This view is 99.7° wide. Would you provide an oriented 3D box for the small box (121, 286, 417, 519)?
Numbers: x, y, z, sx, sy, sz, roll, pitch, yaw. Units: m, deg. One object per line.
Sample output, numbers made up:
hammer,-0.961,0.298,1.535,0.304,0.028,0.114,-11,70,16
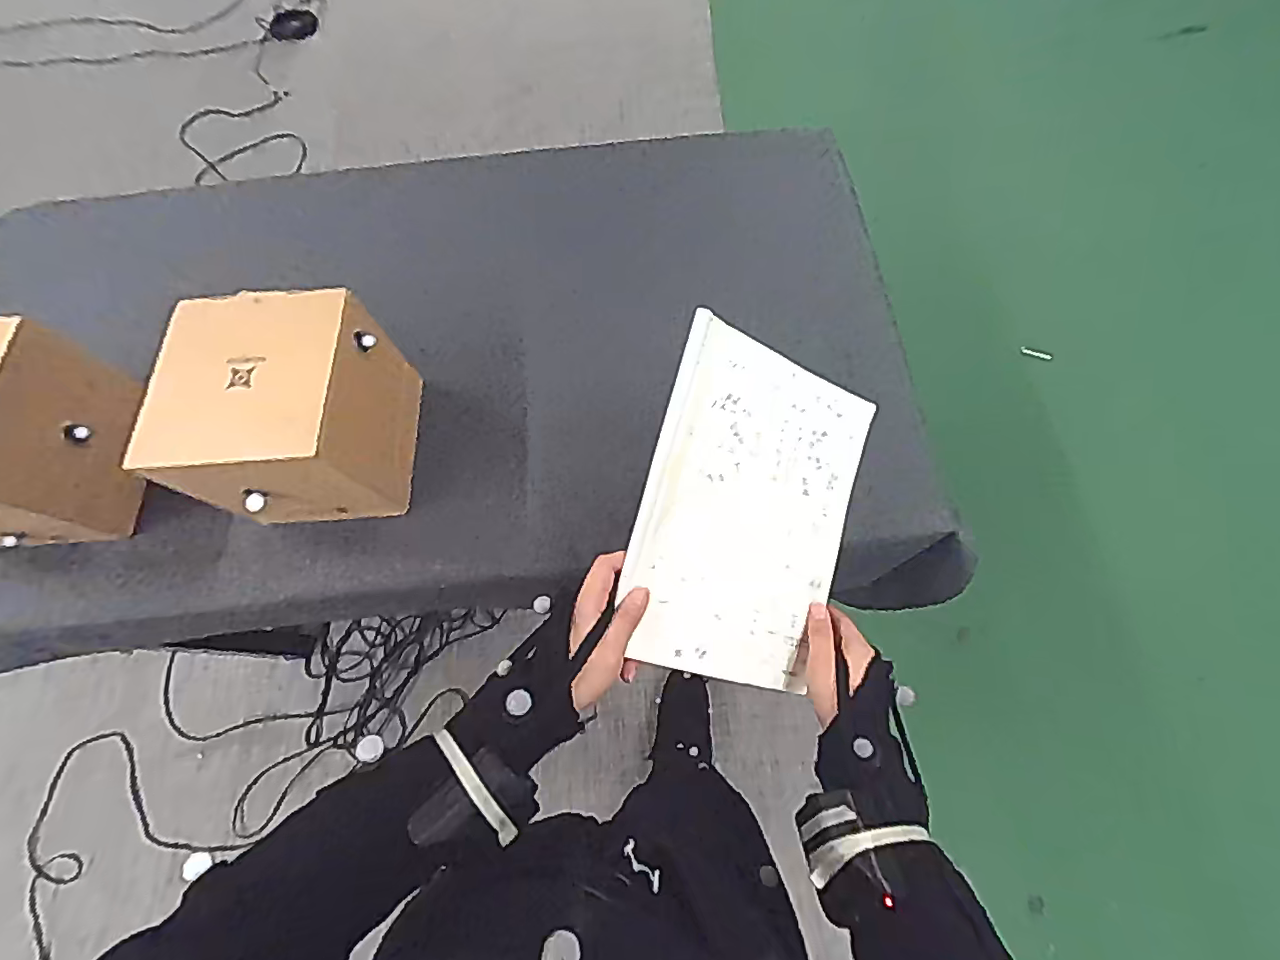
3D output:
small box,-0.343,-0.064,0.543,0.168,0.176,0.179,-4,68,2
